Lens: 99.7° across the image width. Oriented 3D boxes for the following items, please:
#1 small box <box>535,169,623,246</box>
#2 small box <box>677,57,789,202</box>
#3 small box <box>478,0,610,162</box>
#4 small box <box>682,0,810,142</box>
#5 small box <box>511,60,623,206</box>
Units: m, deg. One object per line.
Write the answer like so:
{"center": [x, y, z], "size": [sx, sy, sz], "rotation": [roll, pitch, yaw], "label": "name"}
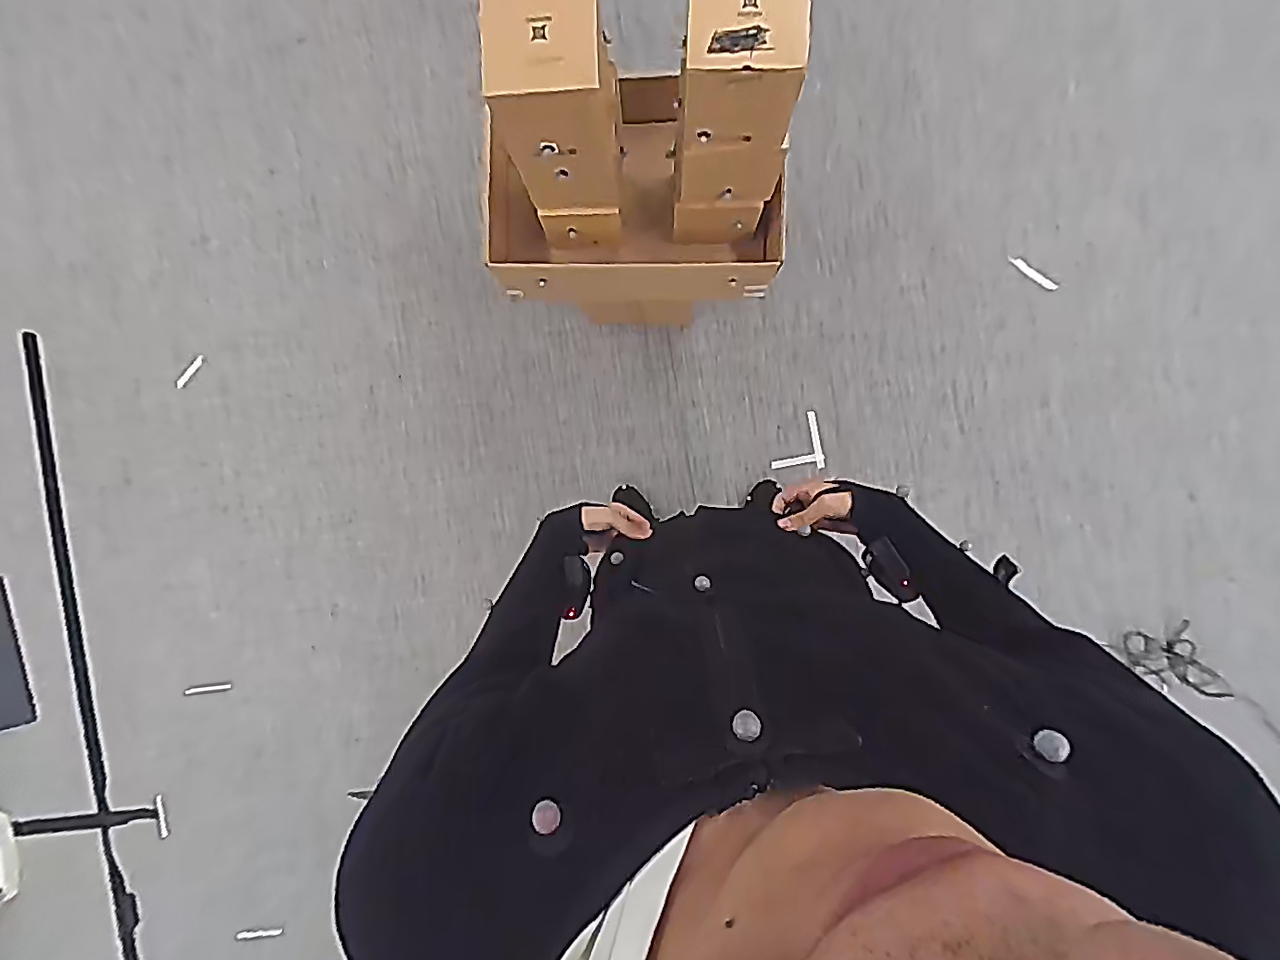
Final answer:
{"center": [-0.123, -0.611, 1.146], "size": [0.168, 0.176, 0.179], "rotation": [-1, 90, 1], "label": "small box"}
{"center": [0.158, -0.619, 0.966], "size": [0.179, 0.176, 0.168], "rotation": [-2, 90, 2], "label": "small box"}
{"center": [-0.137, -0.618, 0.818], "size": [0.168, 0.176, 0.179], "rotation": [-2, 89, 3], "label": "small box"}
{"center": [0.149, -0.633, 0.801], "size": [0.168, 0.176, 0.179], "rotation": [2, 90, 3], "label": "small box"}
{"center": [-0.126, -0.619, 0.982], "size": [0.179, 0.176, 0.168], "rotation": [1, 90, 1], "label": "small box"}
